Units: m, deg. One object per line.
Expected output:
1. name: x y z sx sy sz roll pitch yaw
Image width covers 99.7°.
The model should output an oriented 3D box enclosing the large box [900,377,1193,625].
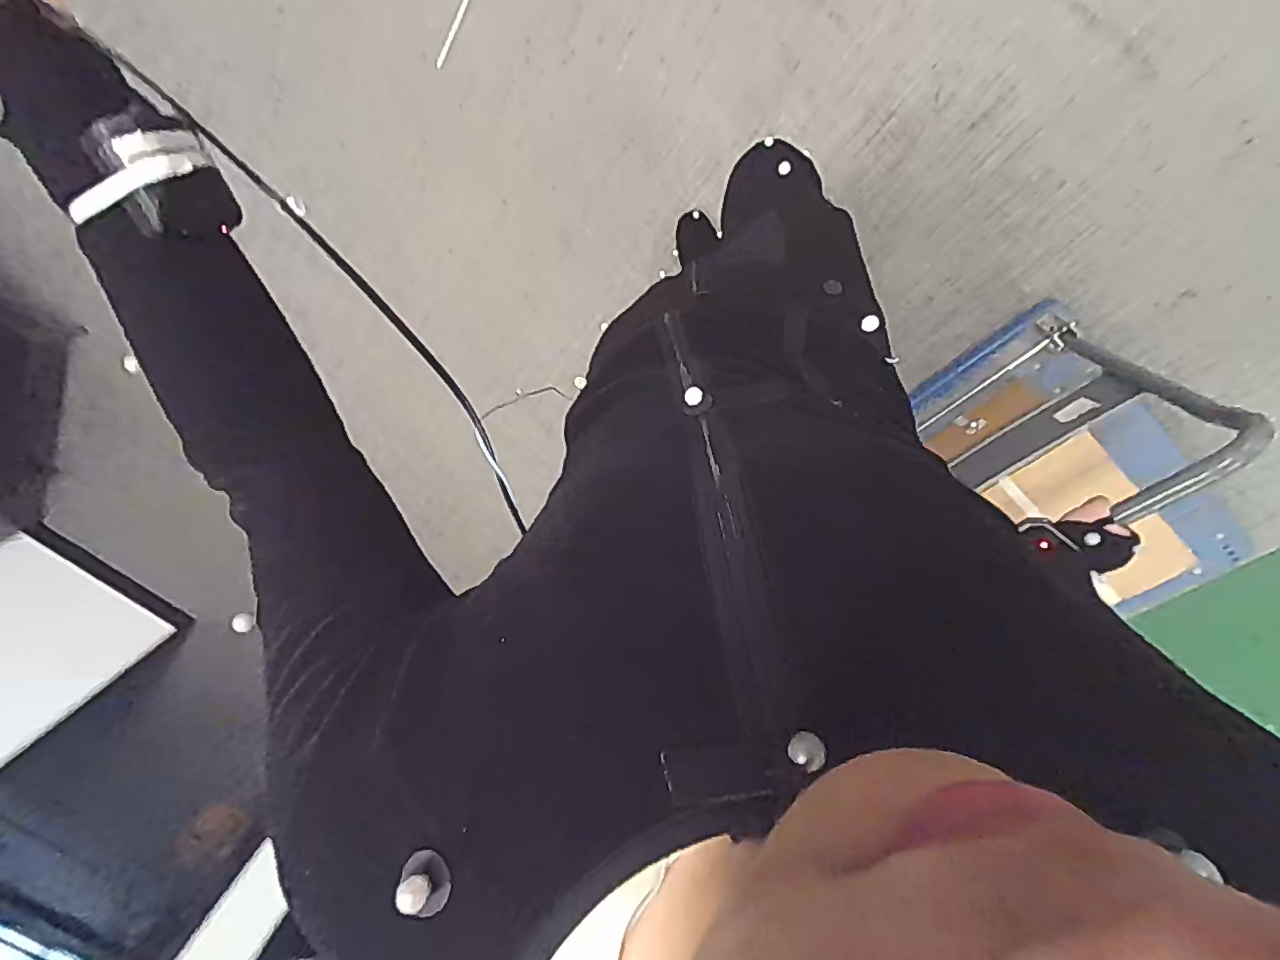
1. large box: 0.881 0.041 1.232 0.408 0.320 0.320 41 120 -11
